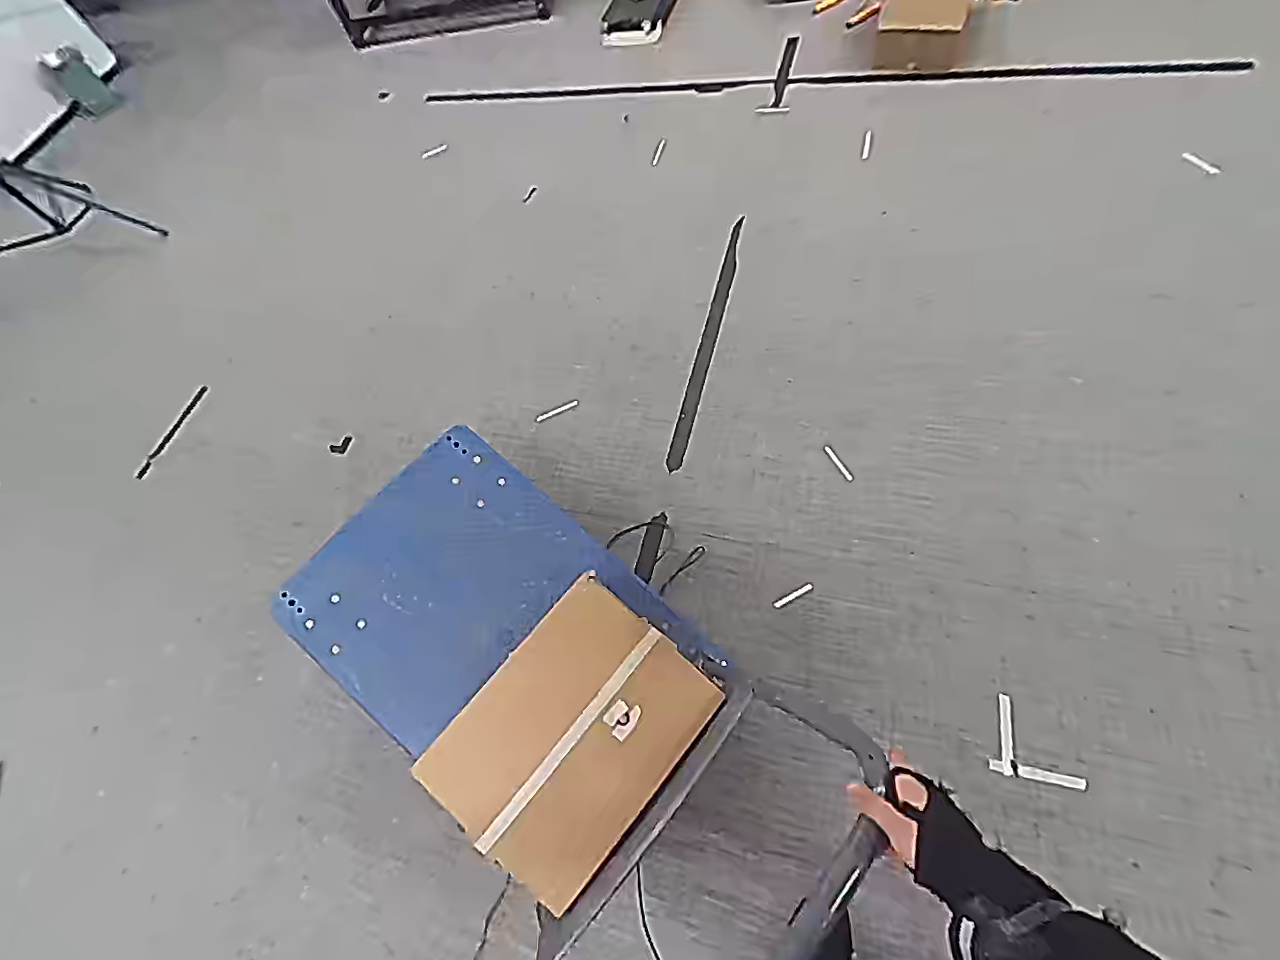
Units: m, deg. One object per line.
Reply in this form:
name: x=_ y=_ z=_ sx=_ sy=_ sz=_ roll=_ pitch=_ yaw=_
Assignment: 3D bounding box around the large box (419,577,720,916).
large box: x=-0.117 y=0.447 z=1.004 sx=0.320 sy=0.320 sz=0.408 roll=40 pitch=74 yaw=6
